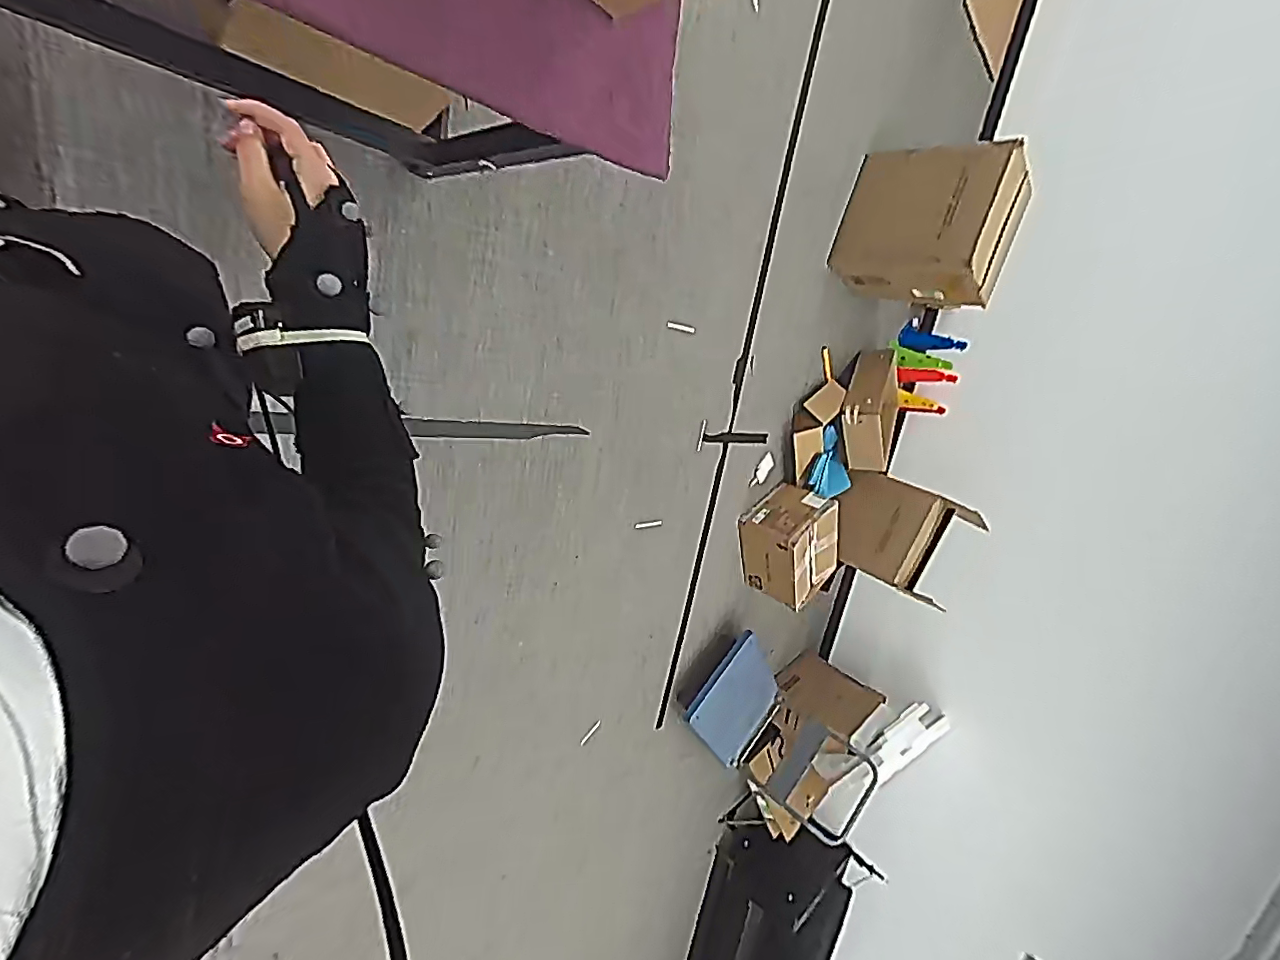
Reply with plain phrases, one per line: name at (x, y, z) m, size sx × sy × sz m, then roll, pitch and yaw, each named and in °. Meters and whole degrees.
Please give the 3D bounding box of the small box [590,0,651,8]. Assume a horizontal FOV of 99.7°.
small box at (-0.022, -0.643, 0.563) m, size 0.179 × 0.176 × 0.168 m, roll -2°, pitch 108°, yaw -47°
